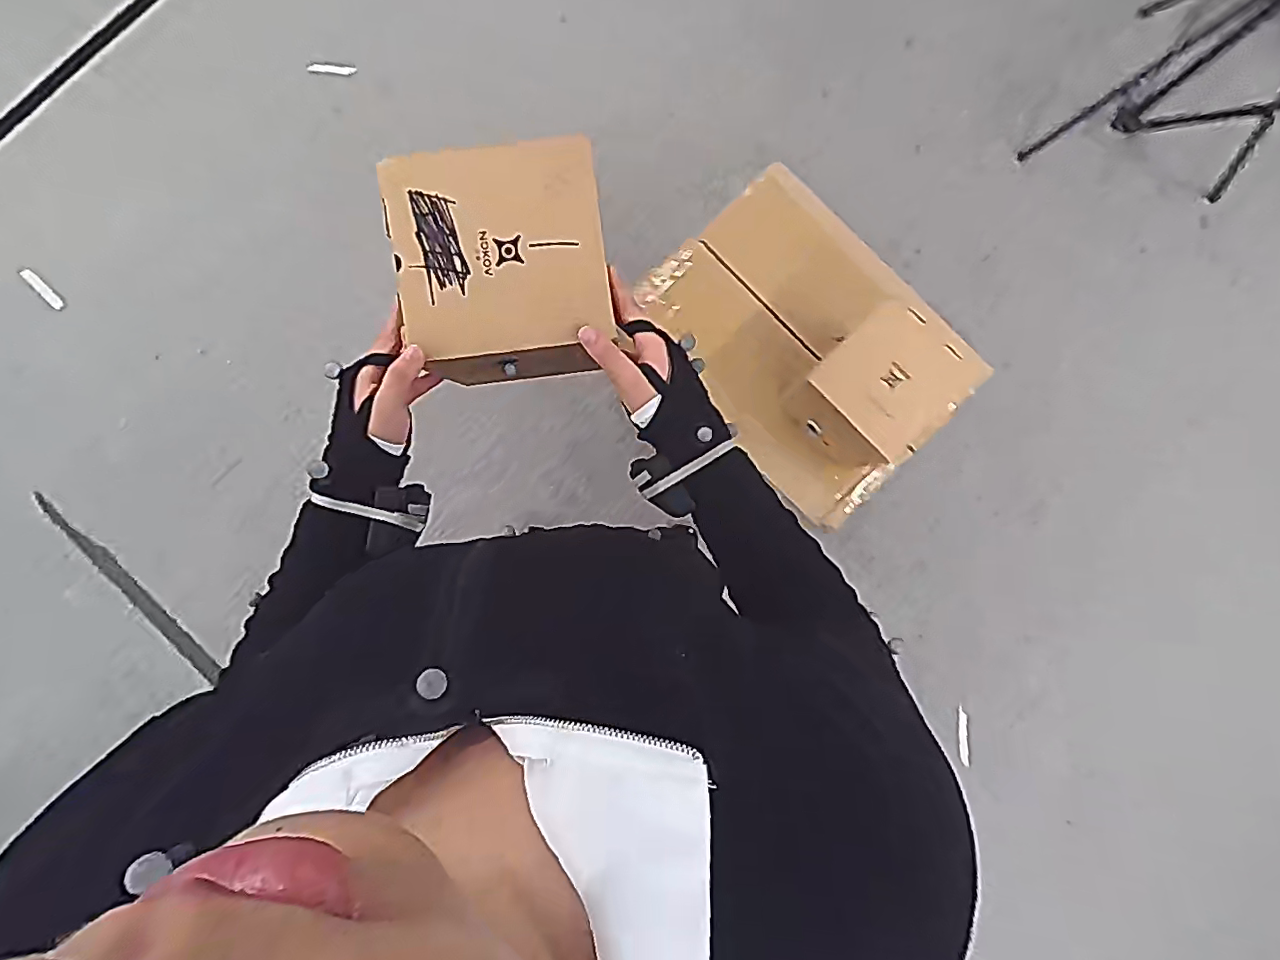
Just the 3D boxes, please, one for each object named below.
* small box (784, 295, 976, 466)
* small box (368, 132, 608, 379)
[{"bbox_3d":[0.348,-0.139,0.825,0.179,0.176,0.168,-44,87,-1],"label":"small box"},{"bbox_3d":[-0.128,-0.197,0.524,0.179,0.176,0.168,-8,94,-2],"label":"small box"}]
